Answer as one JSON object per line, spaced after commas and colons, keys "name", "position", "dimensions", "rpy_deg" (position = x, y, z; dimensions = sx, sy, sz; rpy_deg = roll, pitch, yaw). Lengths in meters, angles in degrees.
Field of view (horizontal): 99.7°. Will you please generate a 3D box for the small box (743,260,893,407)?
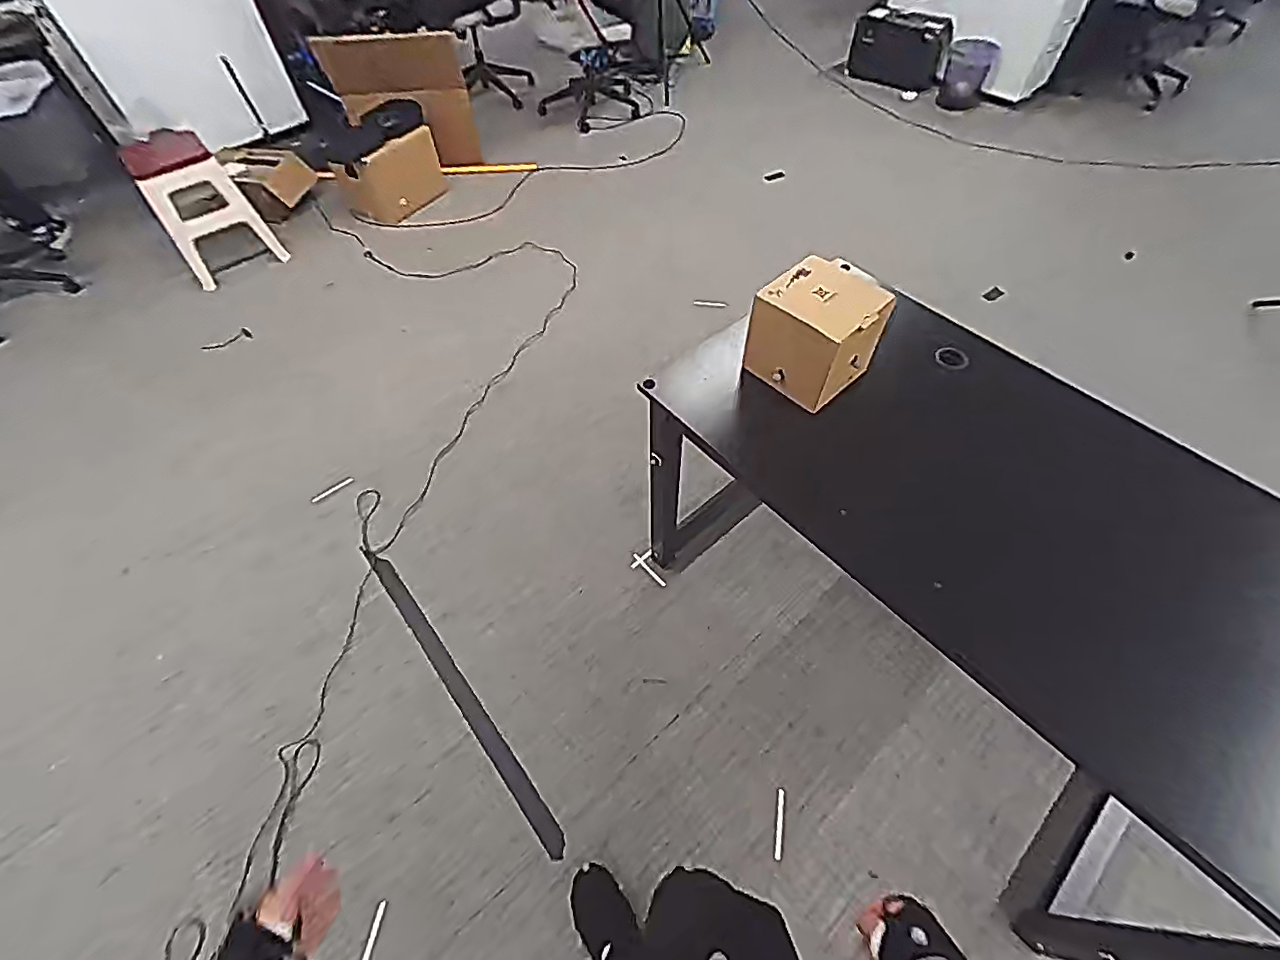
{"name": "small box", "position": [0.311, -0.257, 0.979], "dimensions": [0.168, 0.176, 0.179], "rpy_deg": [-38, 63, -23]}
